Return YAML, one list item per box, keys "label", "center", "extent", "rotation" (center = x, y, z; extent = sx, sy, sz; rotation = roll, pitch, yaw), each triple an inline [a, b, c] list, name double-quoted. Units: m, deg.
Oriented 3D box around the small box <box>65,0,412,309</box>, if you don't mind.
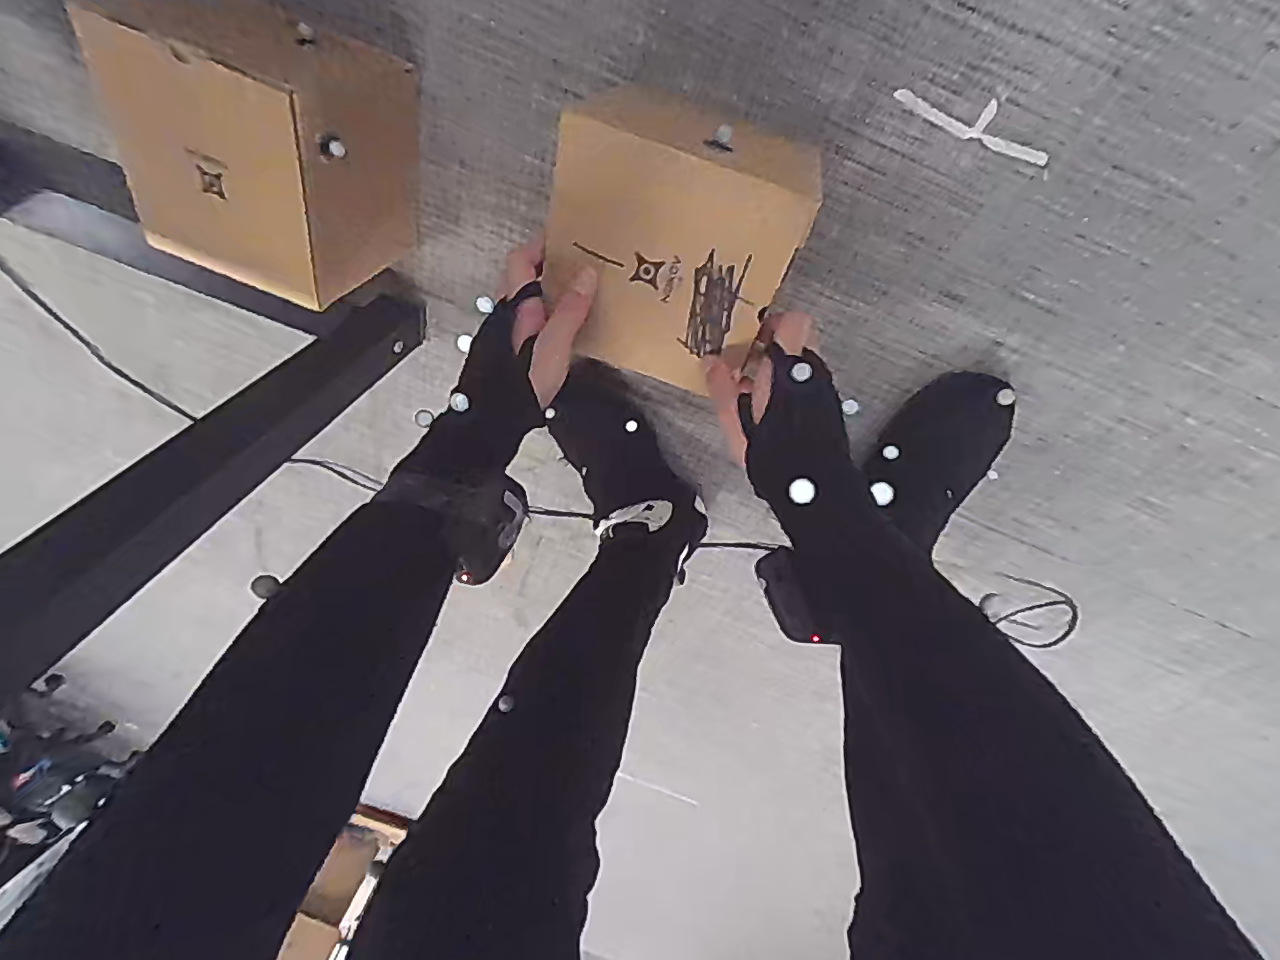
- label: "small box"
  center: [-0.325, -0.292, 0.488]
  extent: [0.168, 0.176, 0.179]
  rotation: [22, 132, -1]
